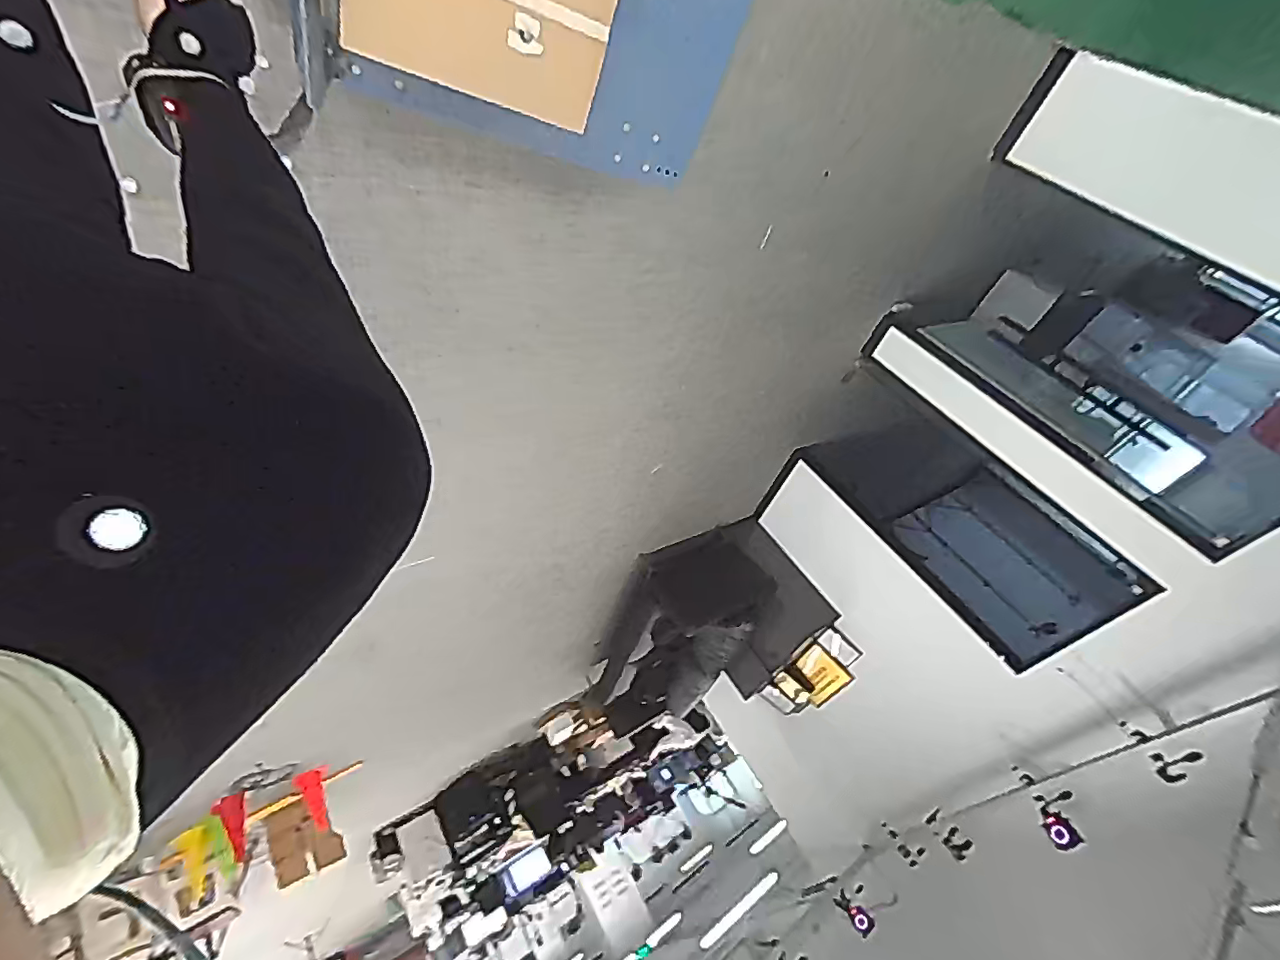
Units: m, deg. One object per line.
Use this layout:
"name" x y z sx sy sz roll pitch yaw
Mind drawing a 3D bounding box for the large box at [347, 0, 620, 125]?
"large box" -0.270 -0.877 0.917 0.408 0.320 0.320 2 136 -28
